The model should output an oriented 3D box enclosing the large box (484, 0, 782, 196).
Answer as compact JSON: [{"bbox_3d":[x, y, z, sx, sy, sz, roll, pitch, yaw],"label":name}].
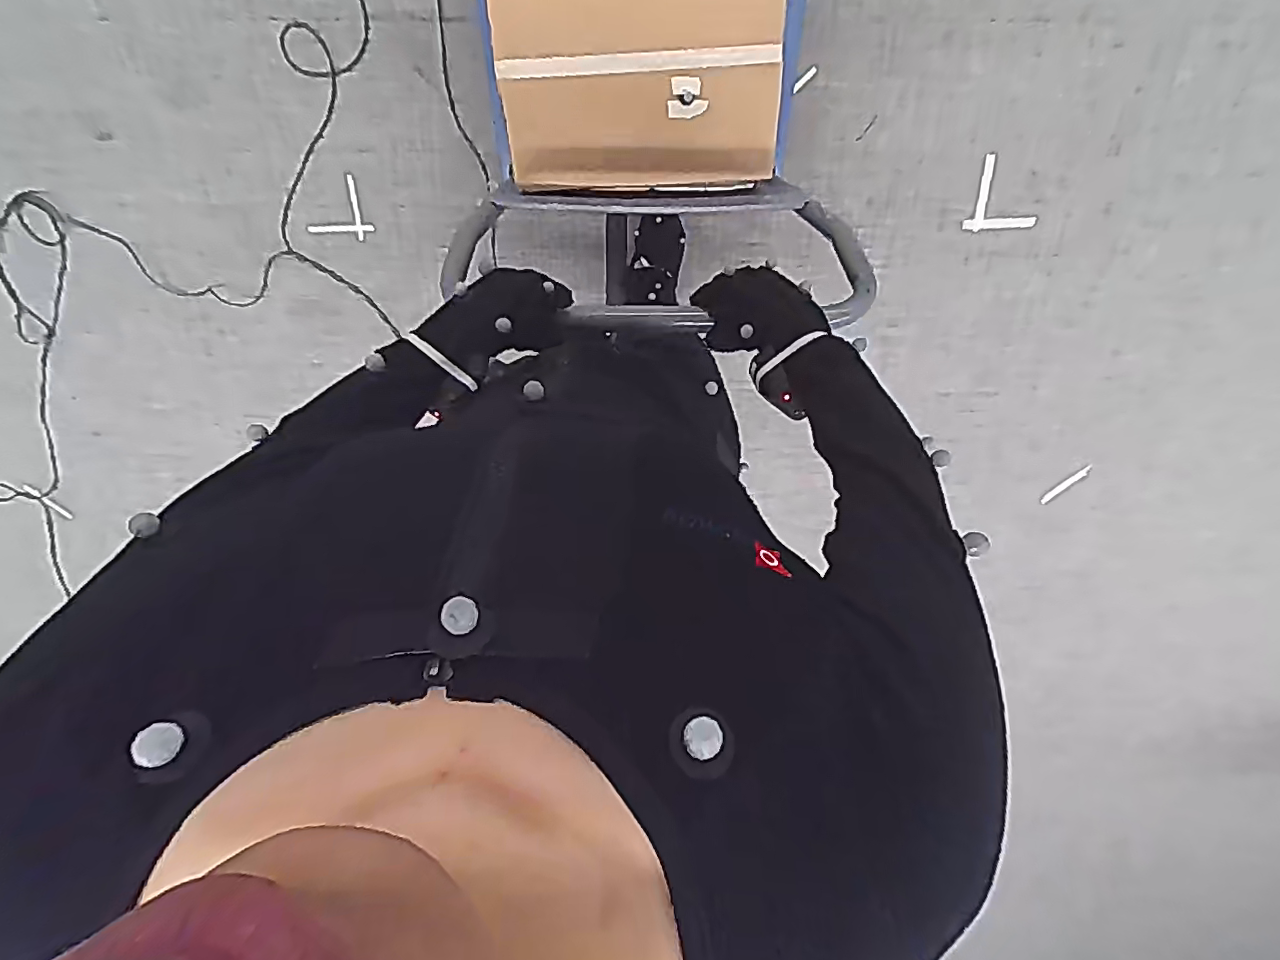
[{"bbox_3d":[-0.011,-0.669,0.881,0.408,0.320,0.320,-4,125,0],"label":"large box"}]
